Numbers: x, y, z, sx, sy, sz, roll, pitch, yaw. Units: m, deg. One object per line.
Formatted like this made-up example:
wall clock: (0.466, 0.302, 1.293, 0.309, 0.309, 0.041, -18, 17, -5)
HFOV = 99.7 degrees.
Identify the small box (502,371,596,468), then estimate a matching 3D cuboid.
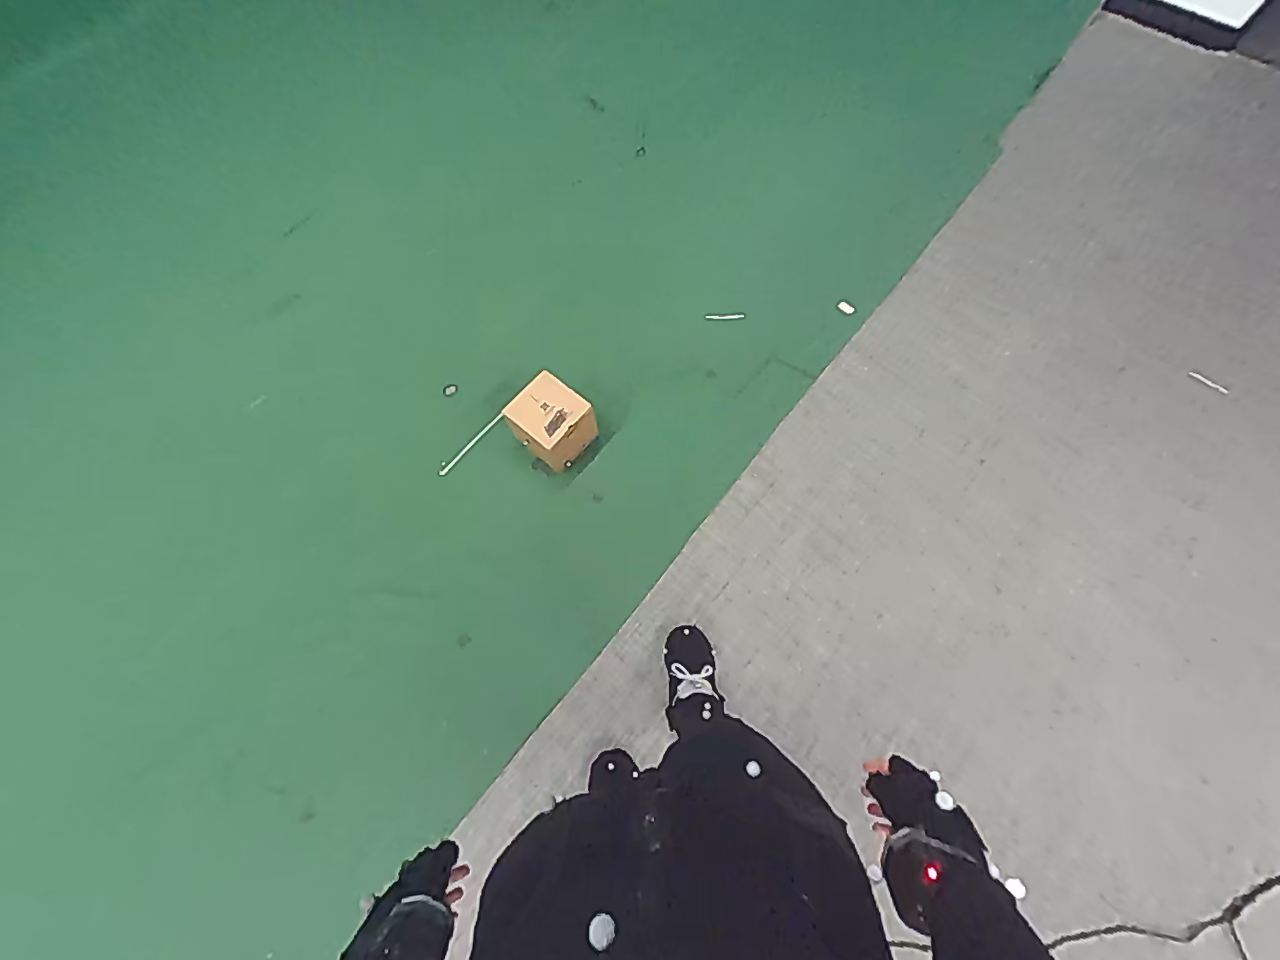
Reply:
small box: (-0.237, -0.154, 1.466, 0.179, 0.176, 0.168, 38, 75, 15)
